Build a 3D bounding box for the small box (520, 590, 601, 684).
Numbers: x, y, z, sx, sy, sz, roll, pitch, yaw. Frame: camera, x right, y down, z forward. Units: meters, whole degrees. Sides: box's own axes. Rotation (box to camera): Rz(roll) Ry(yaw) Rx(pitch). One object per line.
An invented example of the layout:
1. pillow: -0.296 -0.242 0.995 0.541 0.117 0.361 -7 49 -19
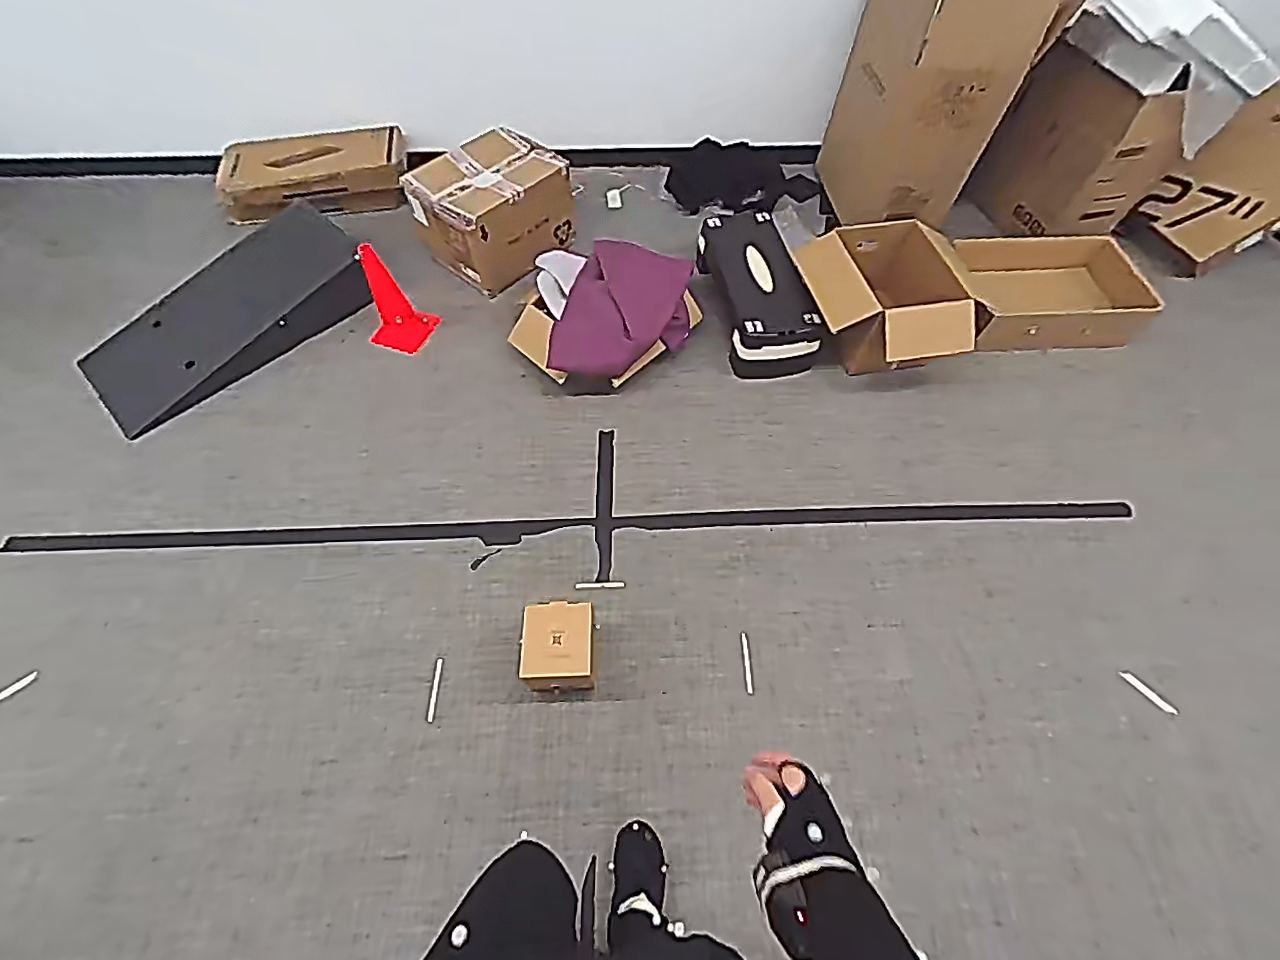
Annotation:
1. small box: -0.180 0.371 1.270 0.168 0.176 0.179 -3 61 -1
